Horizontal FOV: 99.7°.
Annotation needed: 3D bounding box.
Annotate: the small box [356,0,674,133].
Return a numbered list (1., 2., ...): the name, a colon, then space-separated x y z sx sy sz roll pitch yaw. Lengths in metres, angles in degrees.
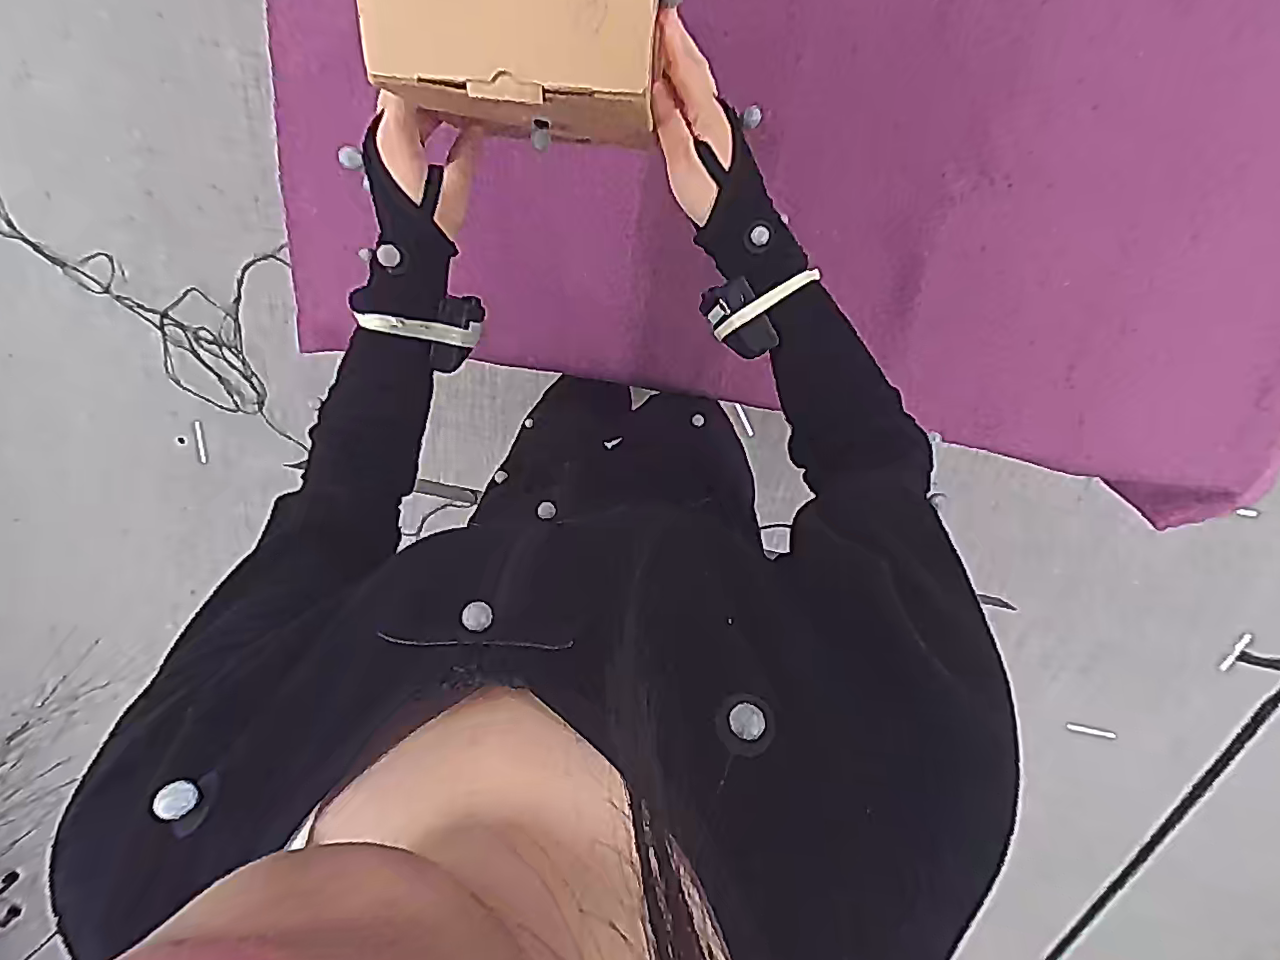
1. small box: -0.062 -0.339 0.344 0.168 0.176 0.179 7 114 3
